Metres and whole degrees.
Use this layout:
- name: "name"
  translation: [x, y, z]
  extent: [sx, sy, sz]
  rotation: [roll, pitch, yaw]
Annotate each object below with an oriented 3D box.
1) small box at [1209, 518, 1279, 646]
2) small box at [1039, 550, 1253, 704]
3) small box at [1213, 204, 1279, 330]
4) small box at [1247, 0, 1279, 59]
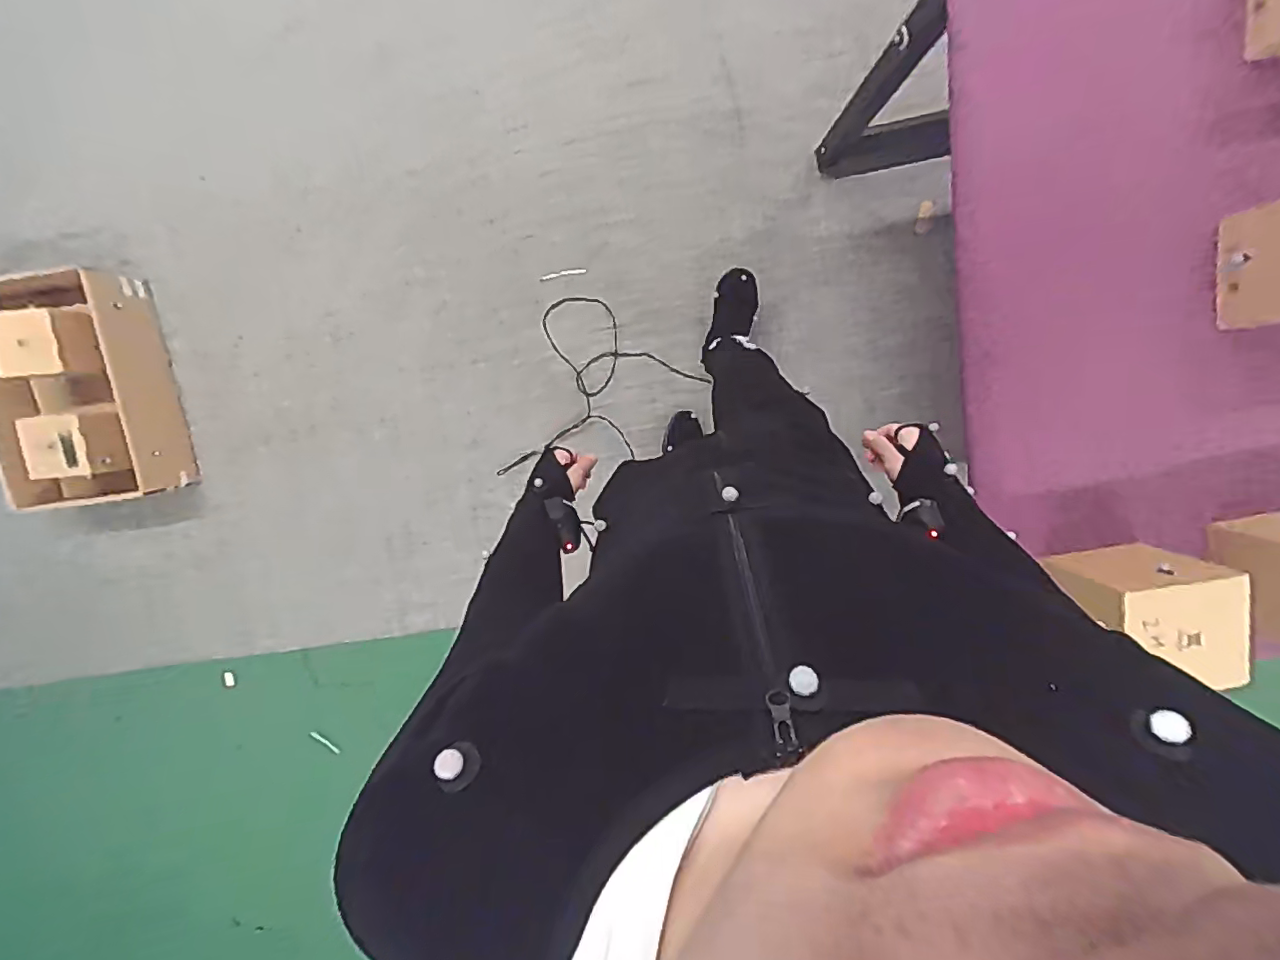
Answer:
- name: "small box"
  translation: [1.027, 0.154, 0.813]
  extent: [0.179, 0.176, 0.168]
  rotation: [-10, 98, 3]
- name: "small box"
  translation: [0.756, 0.213, 0.825]
  extent: [0.179, 0.176, 0.168]
  rotation: [-8, 98, 2]
- name: "small box"
  translation: [0.960, -0.308, 0.740]
  extent: [0.179, 0.176, 0.168]
  rotation: [-9, 98, 3]
- name: "small box"
  translation: [0.934, -0.670, 0.676]
  extent: [0.179, 0.176, 0.168]
  rotation: [-7, 100, 3]
